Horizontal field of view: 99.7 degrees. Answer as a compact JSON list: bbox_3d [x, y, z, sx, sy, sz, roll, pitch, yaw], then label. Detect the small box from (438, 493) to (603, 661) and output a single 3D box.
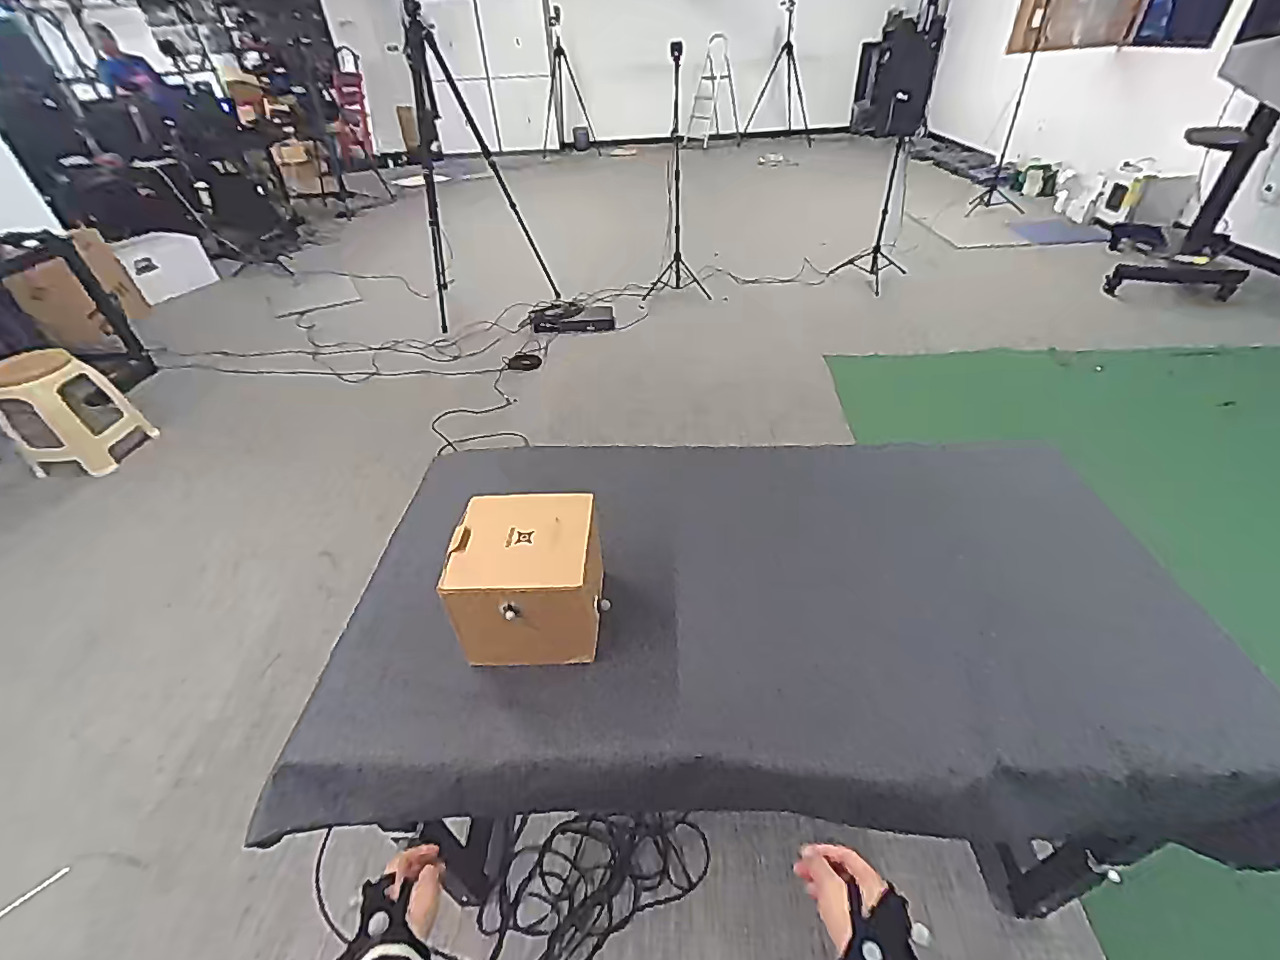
[{"bbox_3d":[-0.149,0.134,0.745,0.179,0.176,0.168,-1,41,2],"label":"small box"}]
